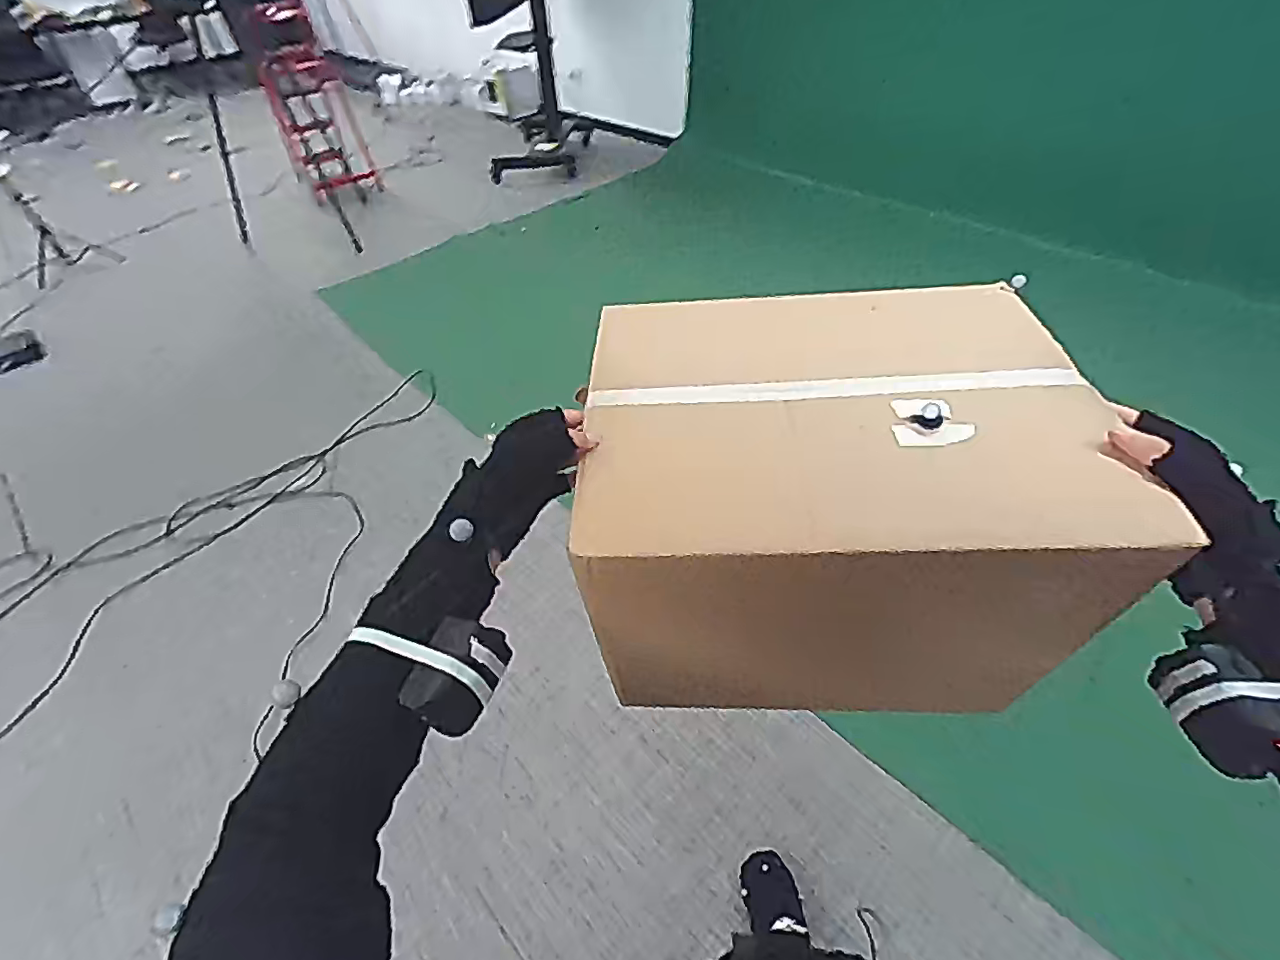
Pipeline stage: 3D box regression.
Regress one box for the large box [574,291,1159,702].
[{"bbox_3d":[0.161,0.028,0.578,0.408,0.320,0.320,-2,50,4],"label":"large box"}]
